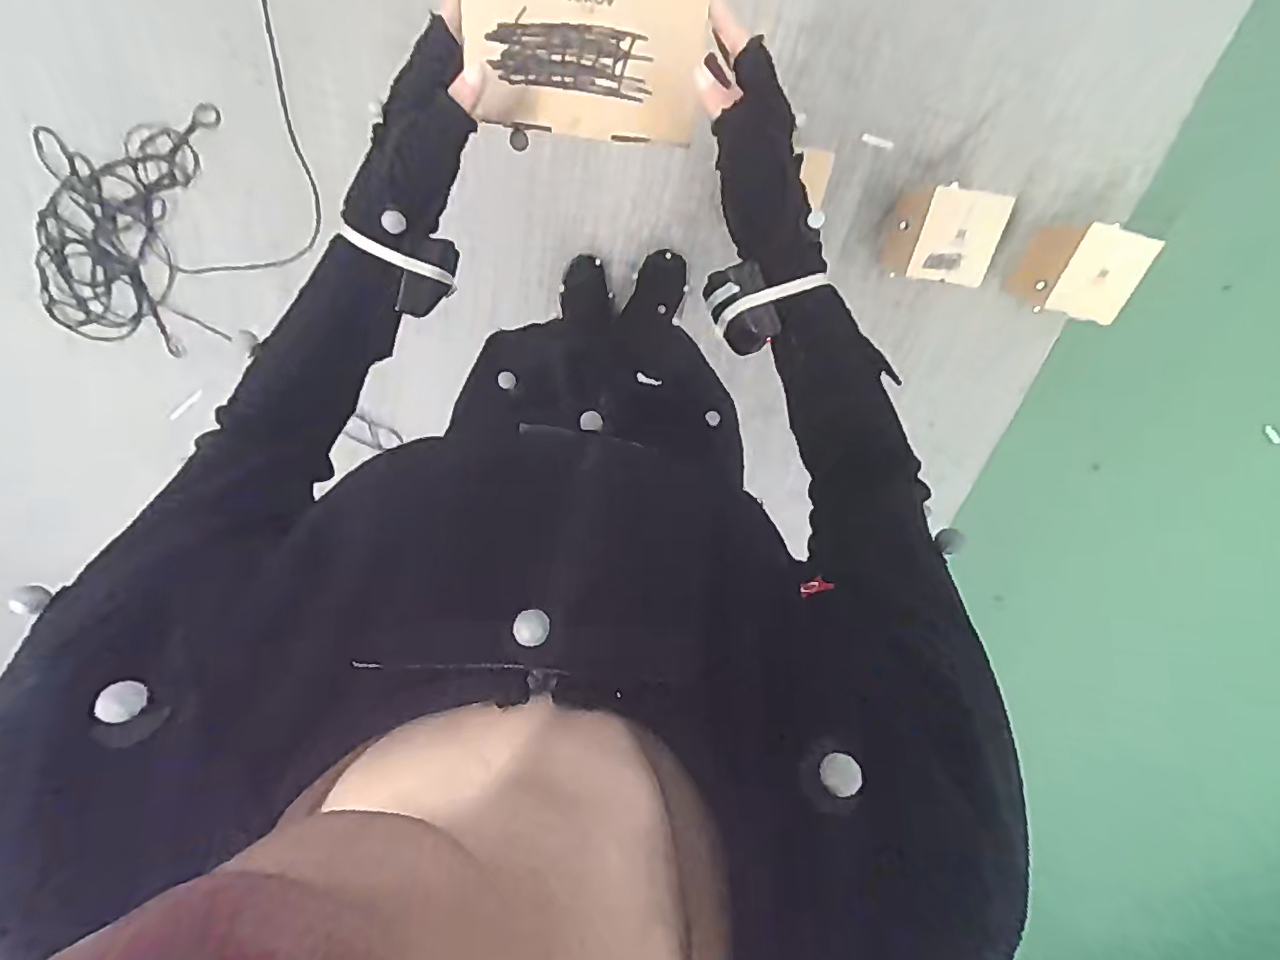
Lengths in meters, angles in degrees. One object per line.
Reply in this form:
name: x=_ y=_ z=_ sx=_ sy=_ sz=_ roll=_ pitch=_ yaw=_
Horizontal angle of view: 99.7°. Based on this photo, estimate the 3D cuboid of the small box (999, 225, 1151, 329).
small box: x=0.961 y=-0.463 z=1.219 sx=0.168 sy=0.176 sz=0.179 roll=13 pitch=118 yaw=-5

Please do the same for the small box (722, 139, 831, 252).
small box: x=0.279 y=-0.602 z=1.153 sx=0.168 sy=0.176 sz=0.179 roll=11 pitch=118 yaw=-3

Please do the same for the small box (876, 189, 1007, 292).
small box: x=0.645 y=-0.528 z=1.188 sx=0.168 sy=0.176 sz=0.179 roll=8 pitch=117 yaw=-3
